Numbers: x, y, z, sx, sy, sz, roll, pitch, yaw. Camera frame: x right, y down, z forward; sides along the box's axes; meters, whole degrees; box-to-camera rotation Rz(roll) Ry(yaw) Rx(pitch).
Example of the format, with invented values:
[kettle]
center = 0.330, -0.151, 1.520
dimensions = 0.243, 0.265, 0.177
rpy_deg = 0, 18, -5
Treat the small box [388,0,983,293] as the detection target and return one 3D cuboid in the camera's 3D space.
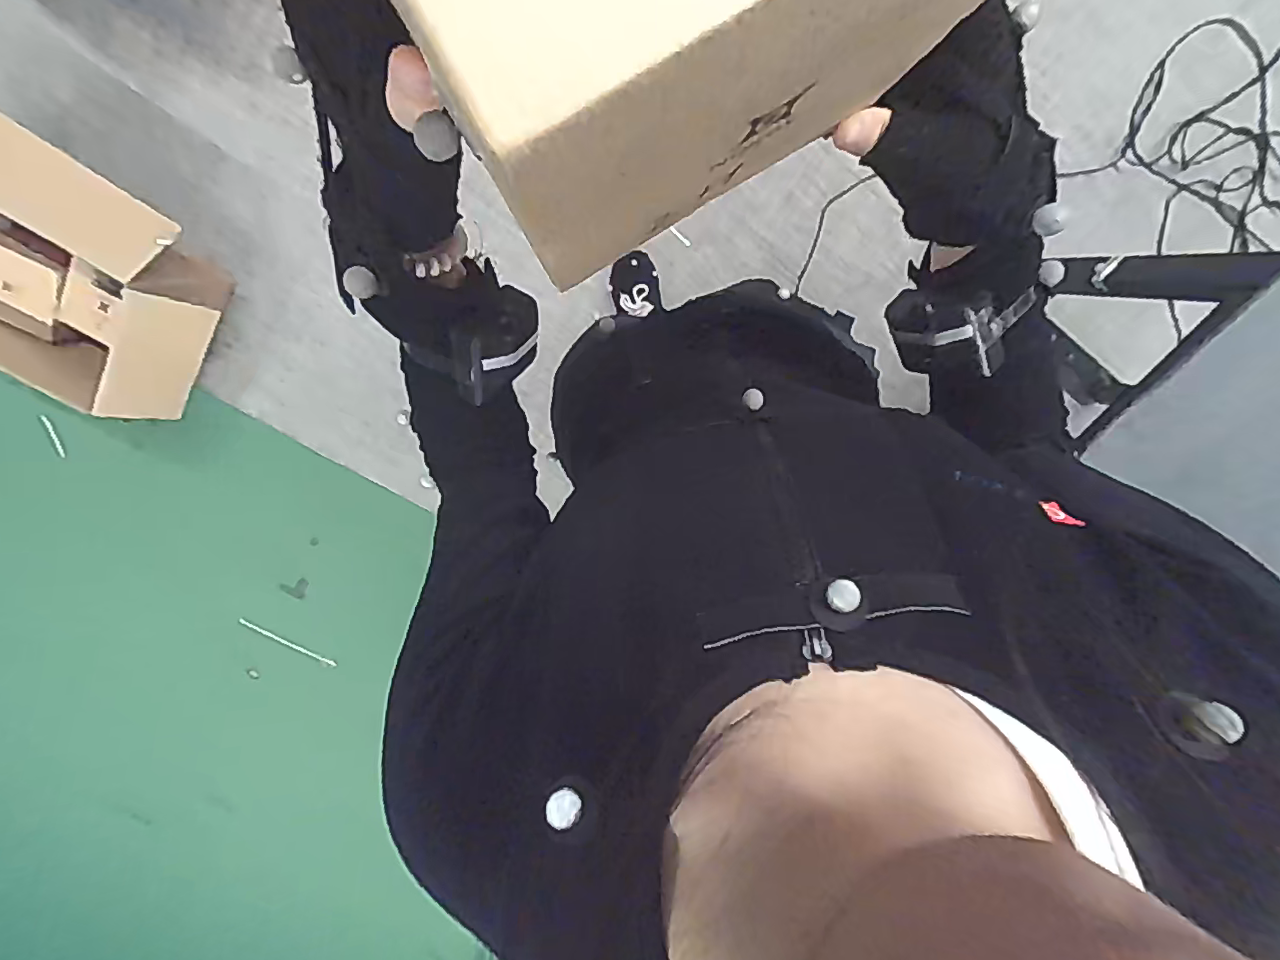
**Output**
[small box]
center = 0.000, -0.184, 0.156
dimensions = 0.168, 0.179, 0.176
rpy_deg = -30, 102, 1
